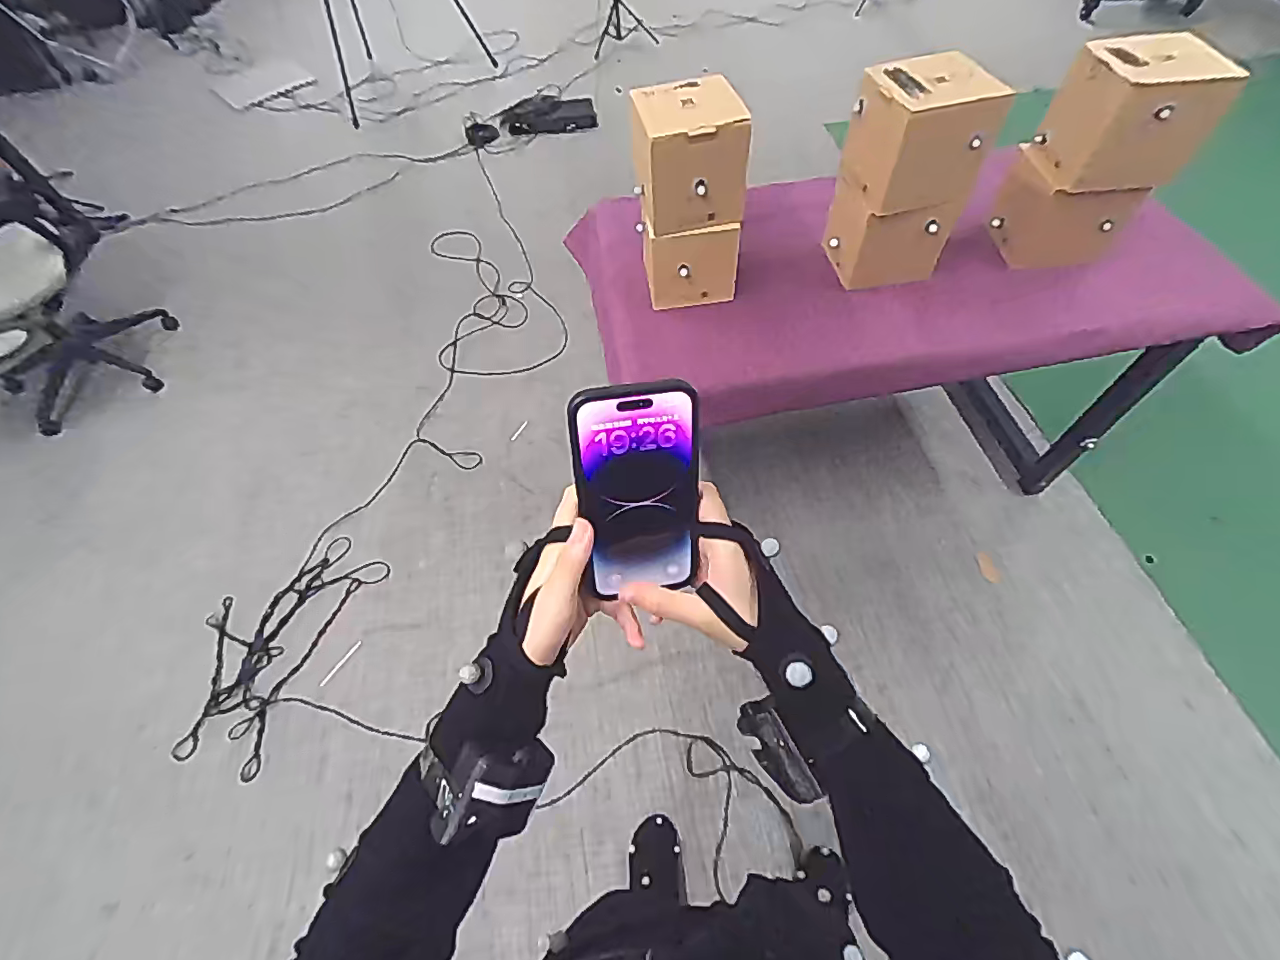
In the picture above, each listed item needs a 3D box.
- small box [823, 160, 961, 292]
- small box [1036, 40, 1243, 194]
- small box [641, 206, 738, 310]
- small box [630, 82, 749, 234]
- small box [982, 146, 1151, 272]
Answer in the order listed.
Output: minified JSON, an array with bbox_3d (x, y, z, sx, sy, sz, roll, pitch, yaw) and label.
[{"bbox_3d":[0.485,-0.498,1.072,0.179,0.176,0.168,-8,57,0],"label":"small box"},{"bbox_3d":[0.822,-0.611,0.922,0.179,0.176,0.168,-3,57,2],"label":"small box"},{"bbox_3d":[0.096,-0.459,1.083,0.168,0.176,0.179,-8,57,0],"label":"small box"},{"bbox_3d":[0.083,-0.555,0.950,0.168,0.176,0.179,-12,58,-3],"label":"small box"},{"bbox_3d":[0.824,-0.534,1.067,0.179,0.176,0.168,-3,57,4],"label":"small box"}]
